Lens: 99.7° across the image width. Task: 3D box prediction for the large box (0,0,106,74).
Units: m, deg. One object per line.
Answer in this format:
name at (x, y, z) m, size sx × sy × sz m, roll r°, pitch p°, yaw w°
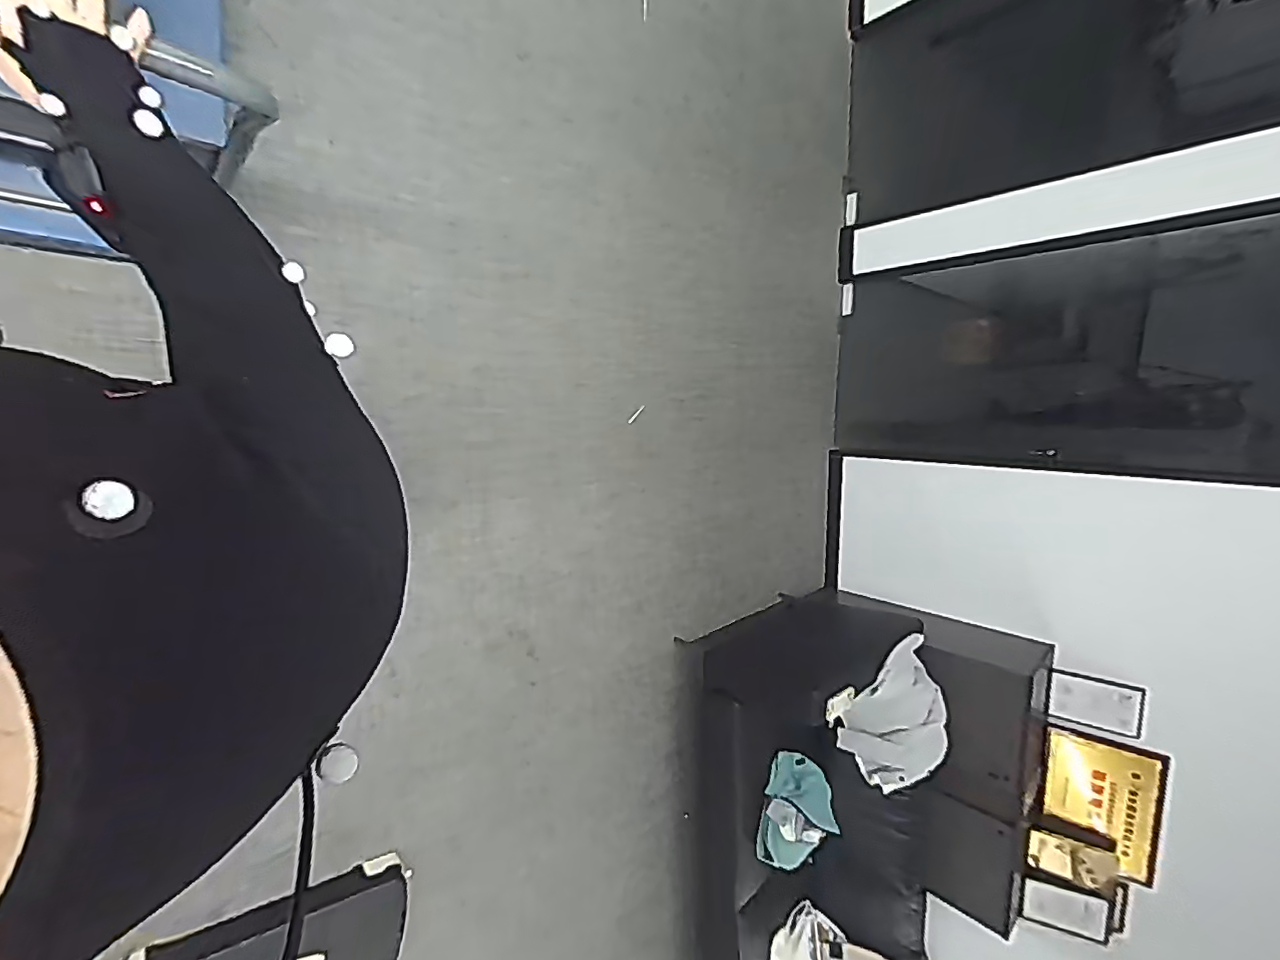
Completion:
large box at (-0.962, -0.826, 0.678) m, size 0.408 × 0.320 × 0.320 m, roll -2°, pitch 97°, yaw -45°
